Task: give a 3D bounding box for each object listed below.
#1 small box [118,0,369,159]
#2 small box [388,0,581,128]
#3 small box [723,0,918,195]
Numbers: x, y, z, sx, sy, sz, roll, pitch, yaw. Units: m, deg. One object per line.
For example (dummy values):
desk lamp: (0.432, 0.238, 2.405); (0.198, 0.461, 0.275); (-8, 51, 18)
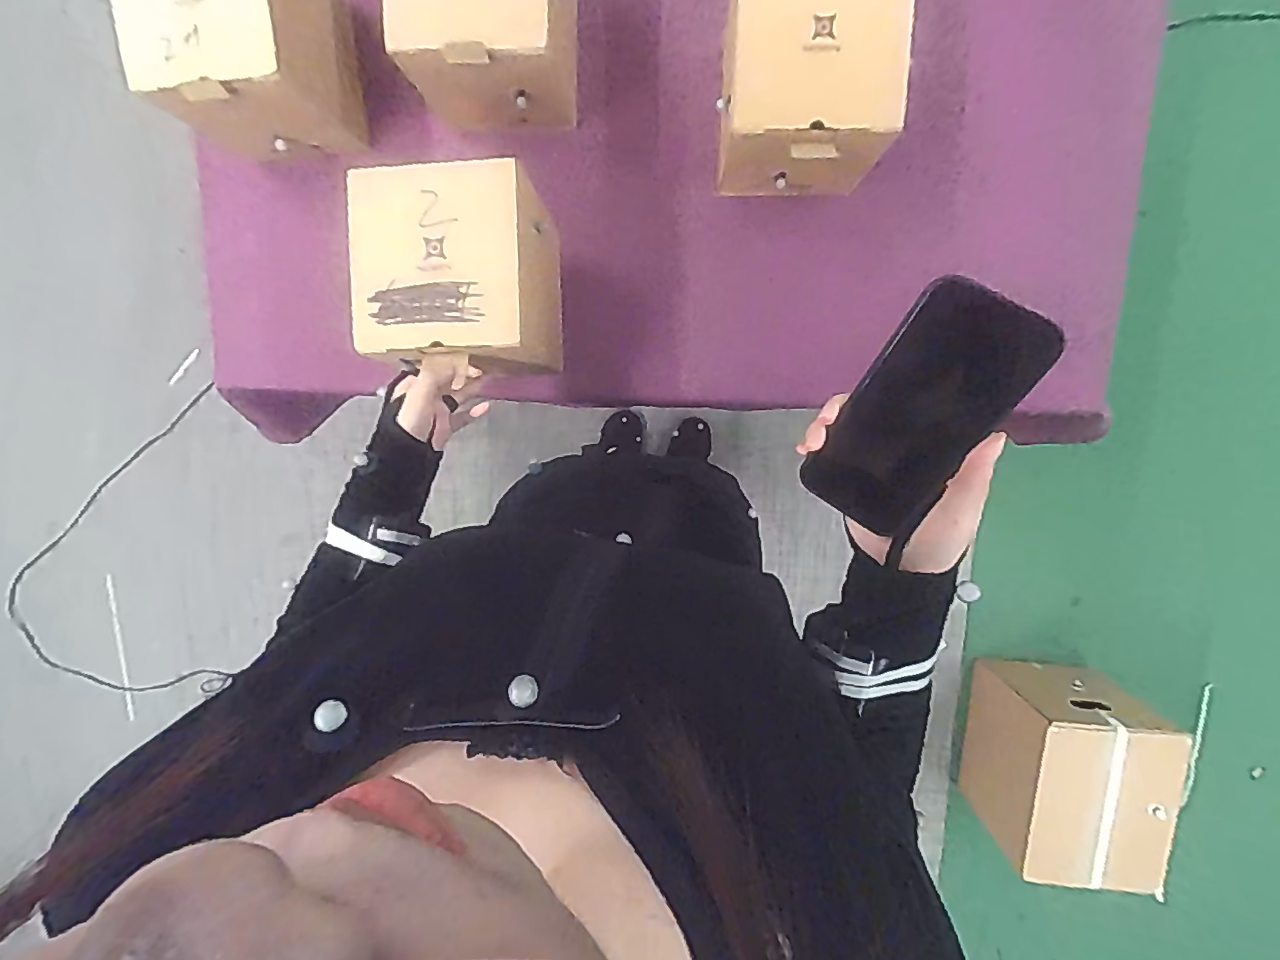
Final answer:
small box: (-0.441, -0.502, 0.621); (0.168, 0.176, 0.179); (-3, 99, 4)
small box: (-0.160, -0.521, 0.601); (0.168, 0.176, 0.179); (3, 99, 2)
small box: (0.182, -0.436, 0.591); (0.168, 0.176, 0.179); (2, 99, 4)
